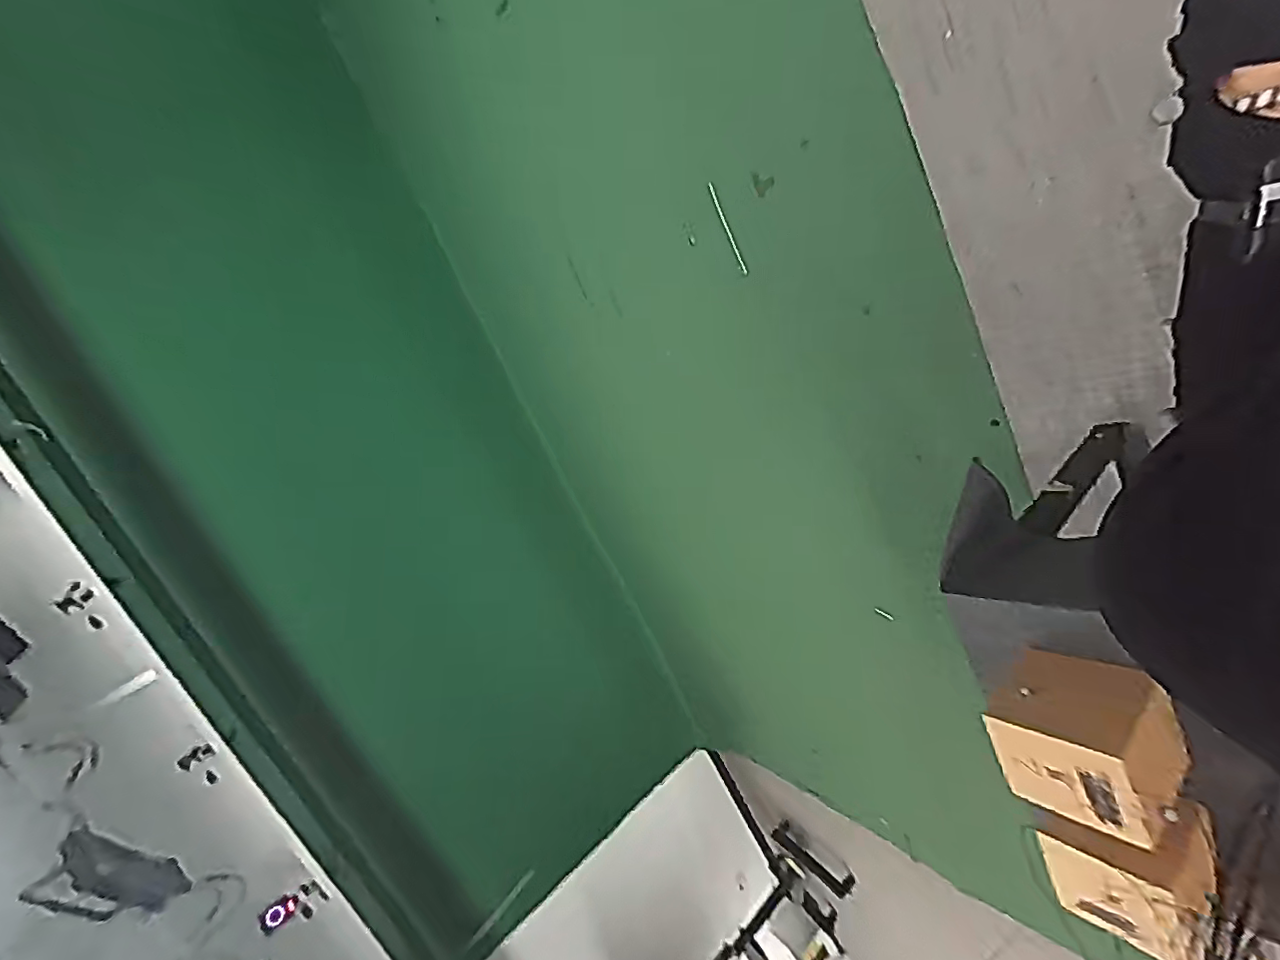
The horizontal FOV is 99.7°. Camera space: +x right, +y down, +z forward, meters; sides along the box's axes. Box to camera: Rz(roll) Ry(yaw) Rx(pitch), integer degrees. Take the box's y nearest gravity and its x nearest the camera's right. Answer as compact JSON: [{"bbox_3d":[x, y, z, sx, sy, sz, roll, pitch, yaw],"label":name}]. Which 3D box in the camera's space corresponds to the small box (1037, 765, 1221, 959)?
[{"bbox_3d":[0.775,0.604,0.856,0.168,0.176,0.179,-2,115,58],"label":"small box"}]
